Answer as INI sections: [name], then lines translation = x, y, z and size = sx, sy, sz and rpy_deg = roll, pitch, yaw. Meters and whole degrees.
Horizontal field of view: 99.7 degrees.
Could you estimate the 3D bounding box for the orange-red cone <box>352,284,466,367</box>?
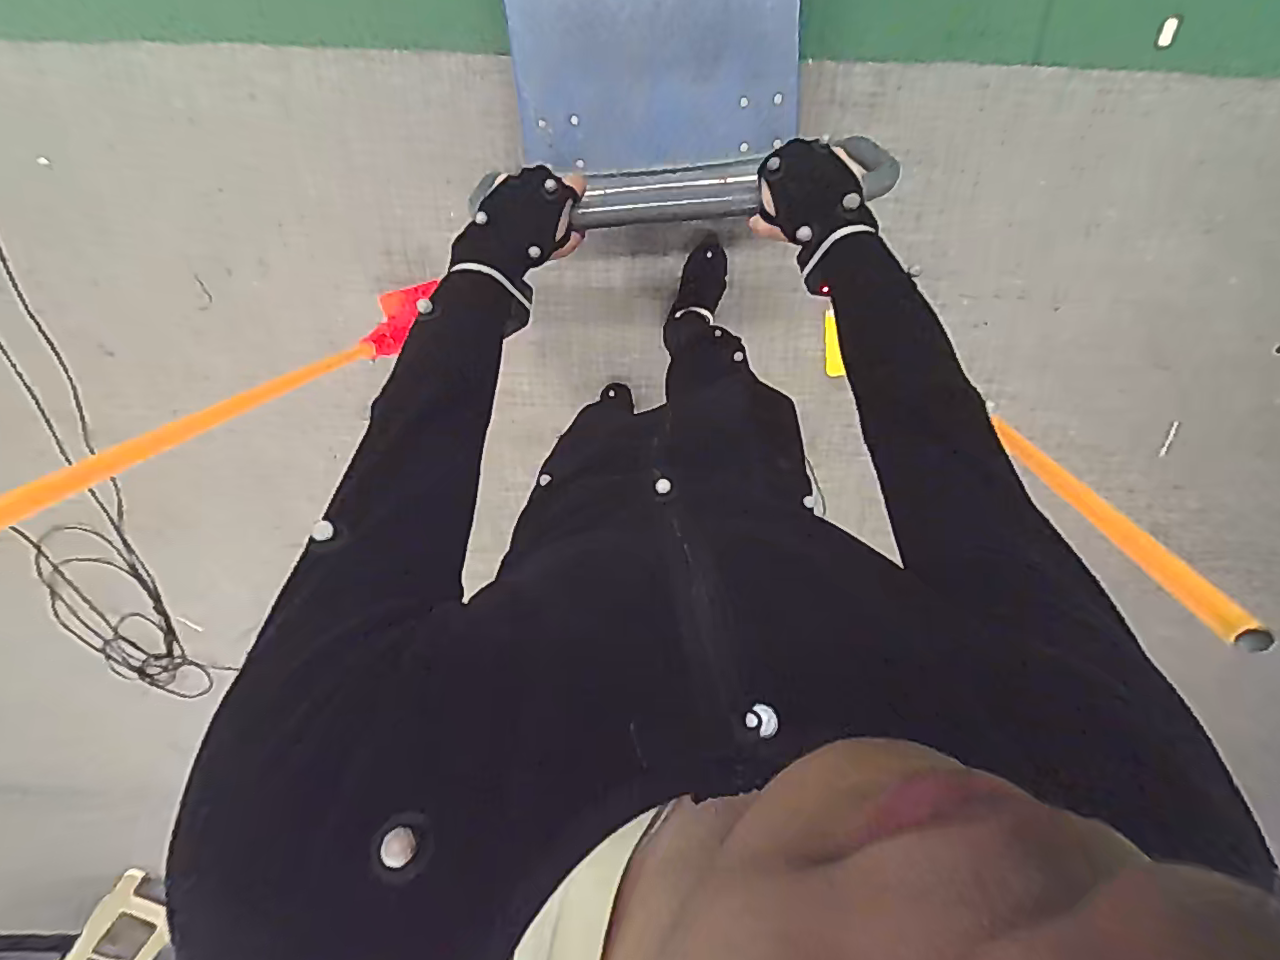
[orange-red cone]
translation = -0.592, -0.347, 1.310
size = 0.199, 0.360, 0.198
rpy_deg = -11, 113, 7
